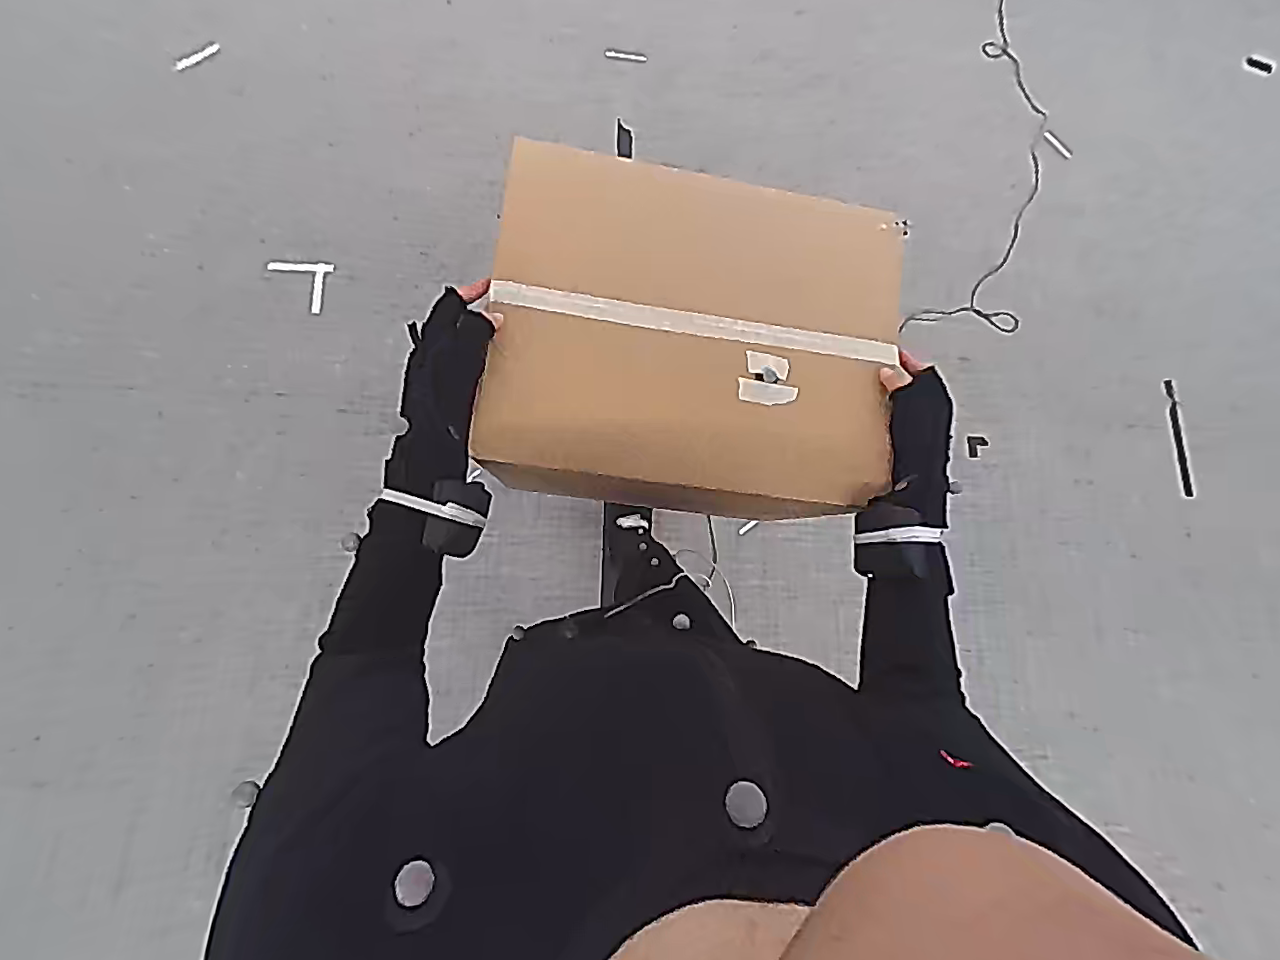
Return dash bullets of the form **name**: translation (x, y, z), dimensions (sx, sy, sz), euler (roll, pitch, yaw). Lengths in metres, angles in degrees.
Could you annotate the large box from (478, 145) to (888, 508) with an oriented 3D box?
- **large box**: translation (0.034, -0.143, 0.685), dimensions (0.408, 0.320, 0.320), euler (8, 84, -8)
